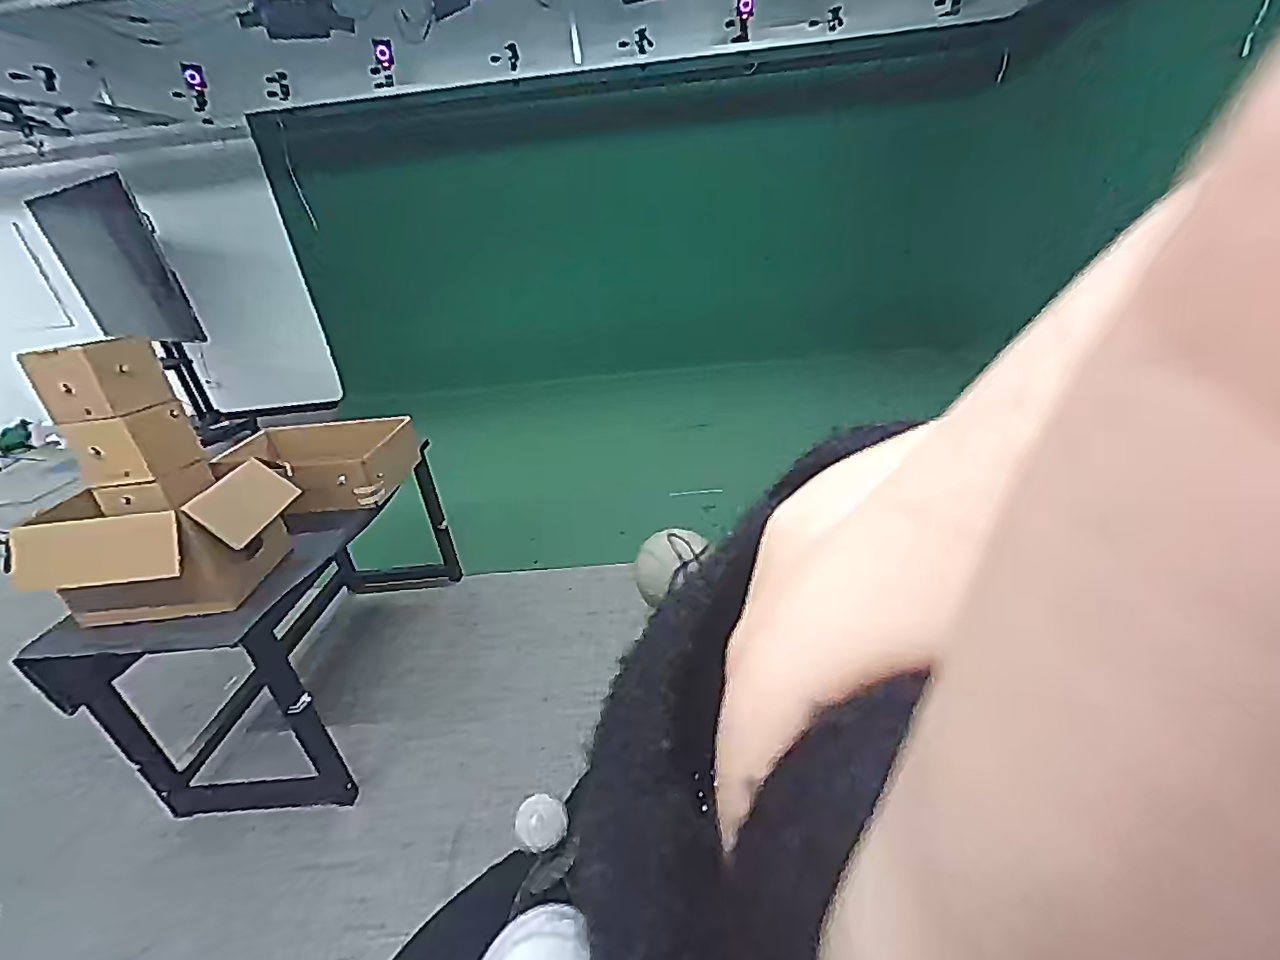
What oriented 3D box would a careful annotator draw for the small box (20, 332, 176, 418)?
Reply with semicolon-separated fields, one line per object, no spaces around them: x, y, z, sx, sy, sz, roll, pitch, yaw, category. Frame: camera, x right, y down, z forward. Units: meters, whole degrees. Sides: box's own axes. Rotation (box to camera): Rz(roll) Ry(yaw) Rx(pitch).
-1.293;-0.251;1.307;0.168;0.176;0.179;-5;23;5;small box

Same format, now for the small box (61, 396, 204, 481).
-1.270;-0.102;1.371;0.168;0.176;0.179;-6;22;4;small box
